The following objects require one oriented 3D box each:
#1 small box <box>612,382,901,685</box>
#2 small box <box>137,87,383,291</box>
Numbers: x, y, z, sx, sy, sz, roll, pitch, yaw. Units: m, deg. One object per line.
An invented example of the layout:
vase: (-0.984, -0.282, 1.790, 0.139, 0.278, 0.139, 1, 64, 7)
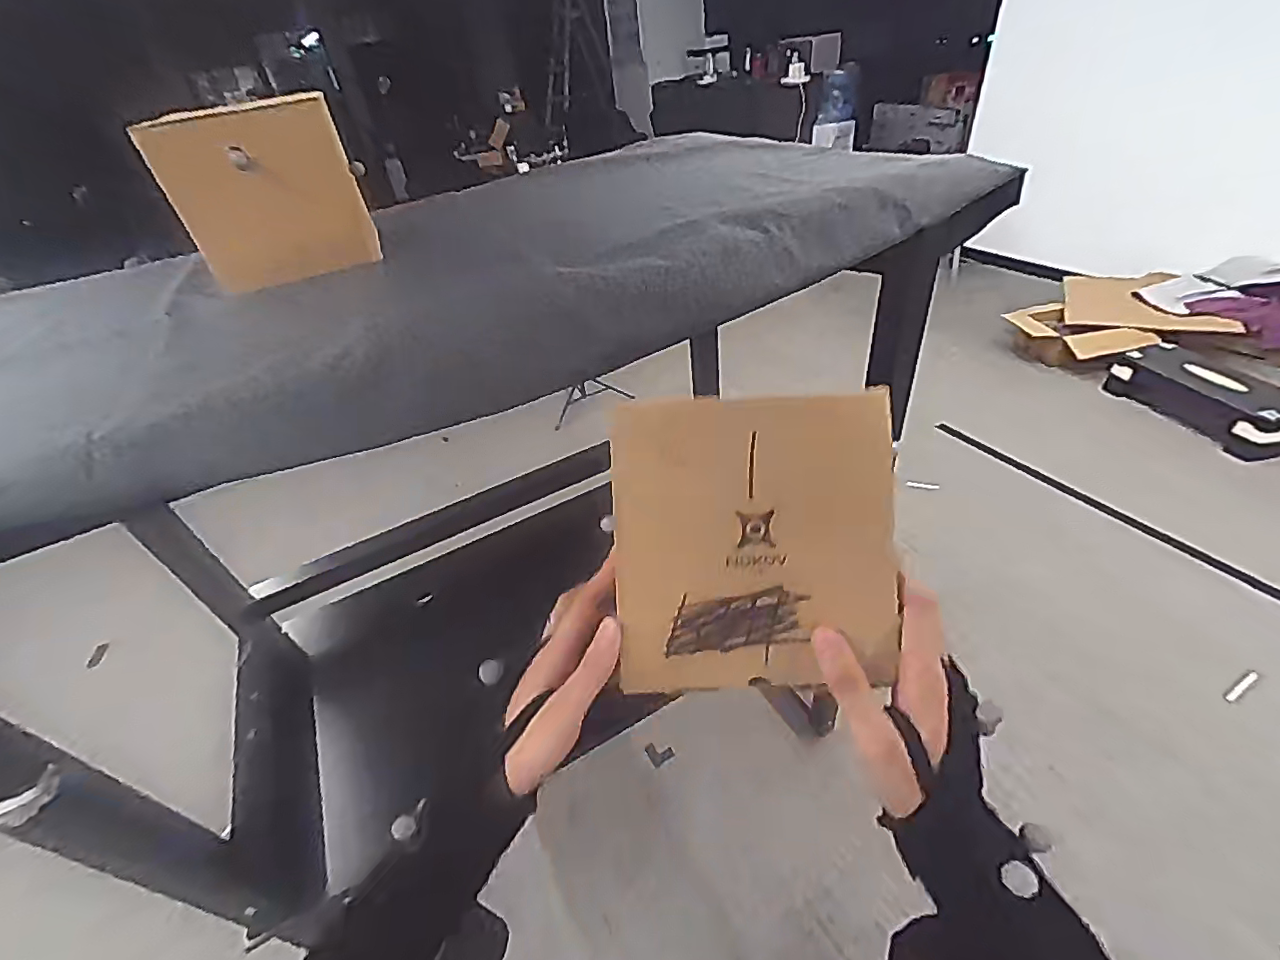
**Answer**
small box: (0.070, 0.029, 0.392, 0.168, 0.179, 0.176, -2, 1, 2)
small box: (-0.421, -0.347, 0.641, 0.179, 0.176, 0.168, -20, 41, -13)
